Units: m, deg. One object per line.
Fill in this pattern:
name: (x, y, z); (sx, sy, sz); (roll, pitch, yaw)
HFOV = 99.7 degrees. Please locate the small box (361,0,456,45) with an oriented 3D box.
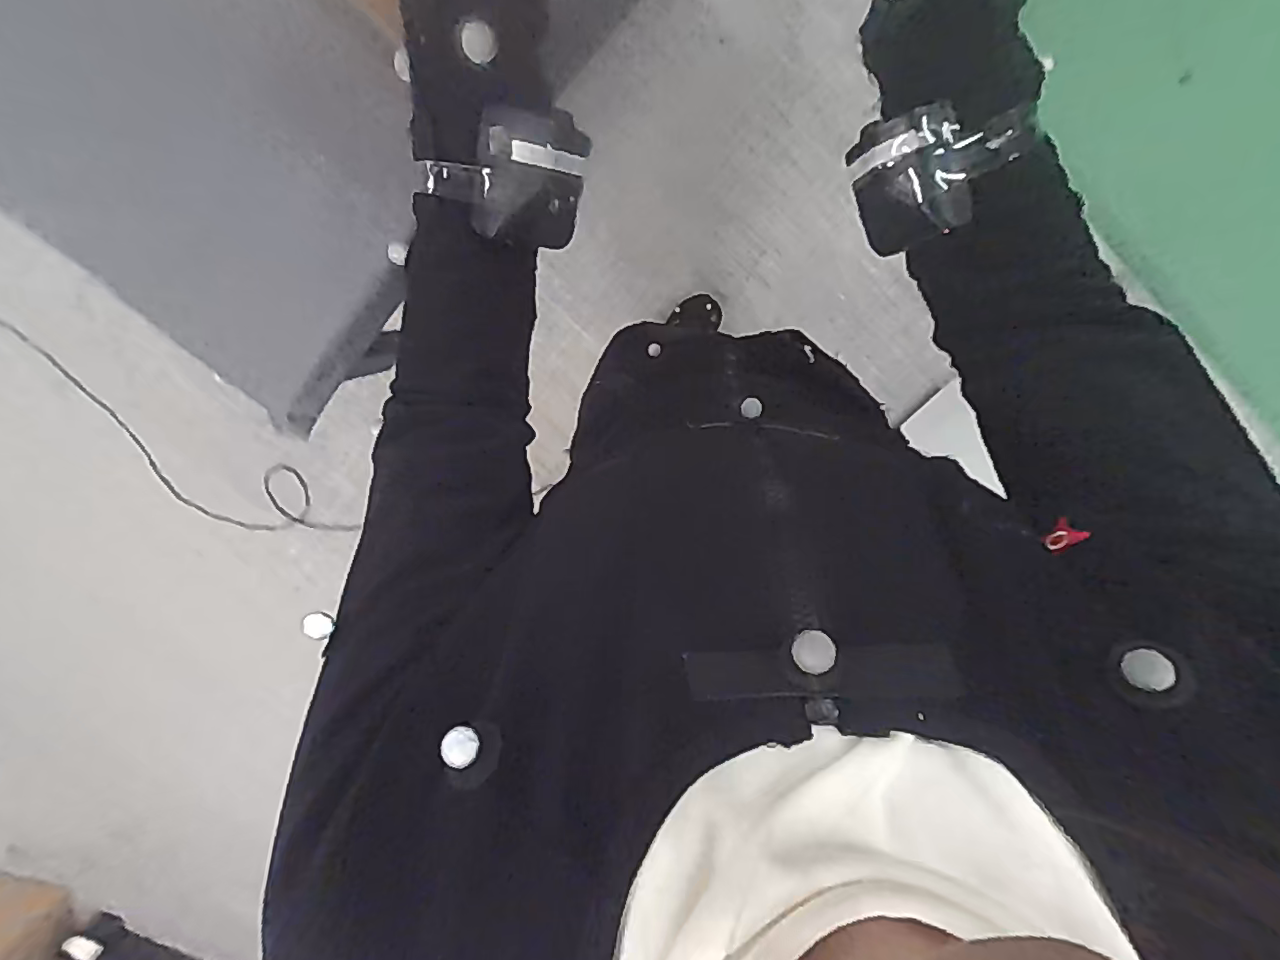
small box: (-0.232, -0.528, 0.452); (0.168, 0.176, 0.179); (44, 106, -9)
